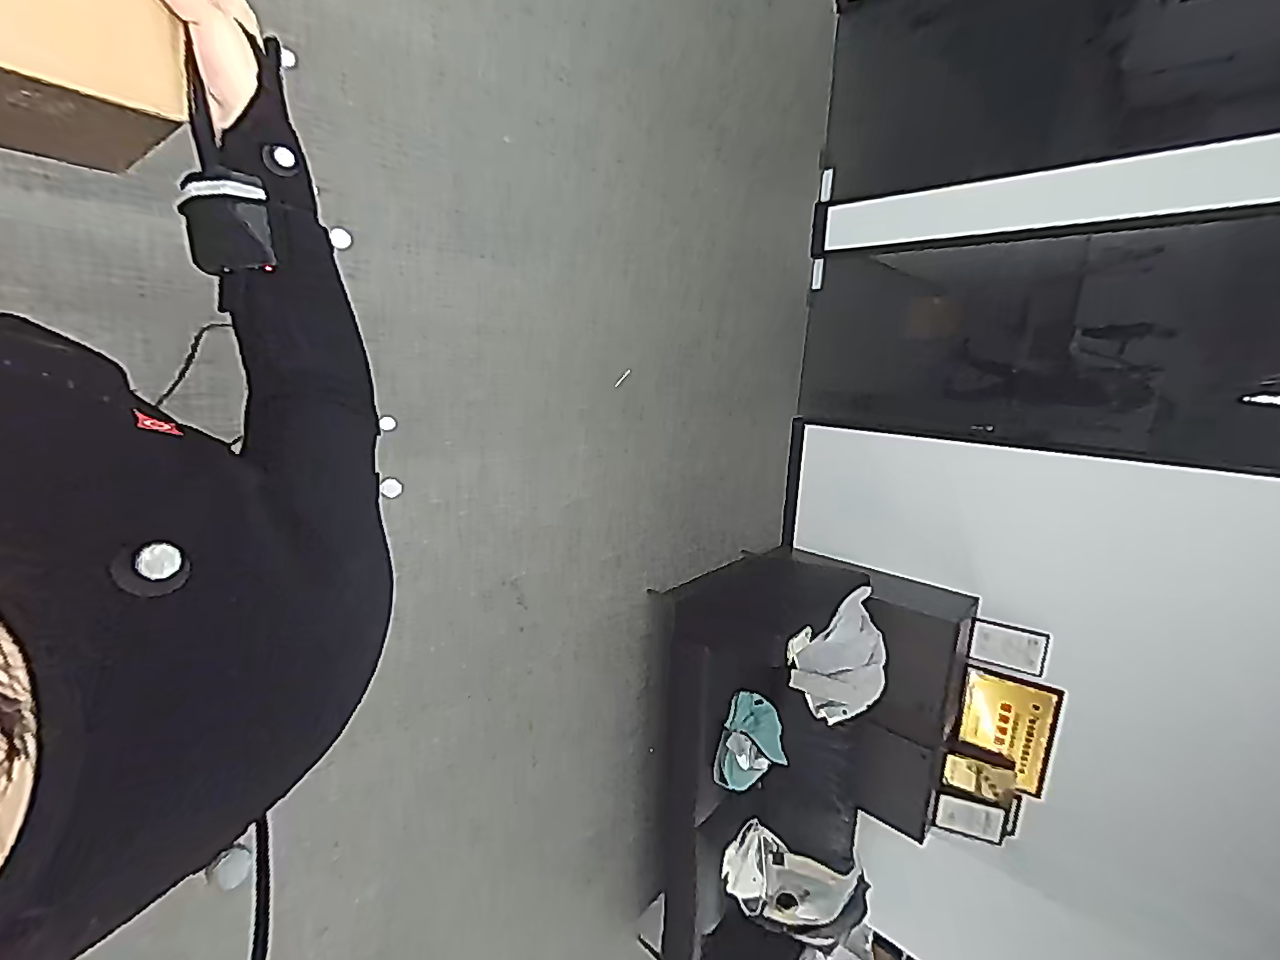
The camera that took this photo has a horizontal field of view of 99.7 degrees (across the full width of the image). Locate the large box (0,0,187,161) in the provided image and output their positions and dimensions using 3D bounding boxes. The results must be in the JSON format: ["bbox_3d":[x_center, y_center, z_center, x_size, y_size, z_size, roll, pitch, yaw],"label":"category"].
[{"bbox_3d":[-0.559,-0.424,0.300,0.408,0.320,0.320,-10,112,-50],"label":"large box"}]
